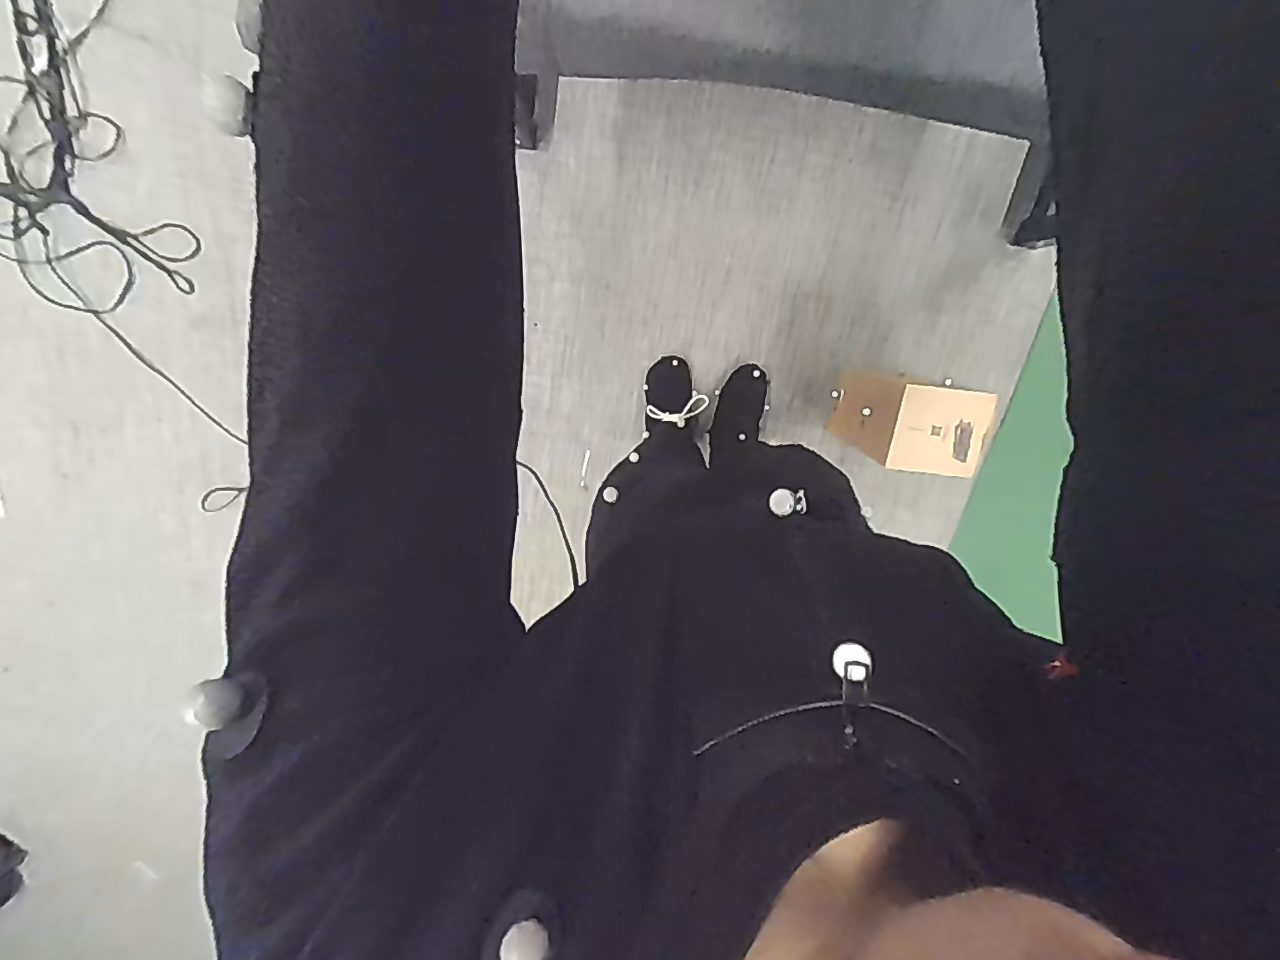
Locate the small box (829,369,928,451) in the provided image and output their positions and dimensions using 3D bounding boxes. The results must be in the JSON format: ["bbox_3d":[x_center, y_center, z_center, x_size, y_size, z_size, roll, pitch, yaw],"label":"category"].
[{"bbox_3d":[0.560,-0.158,1.240,0.179,0.176,0.168,6,107,-1],"label":"small box"}]

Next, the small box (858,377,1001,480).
[{"bbox_3d":[0.566,-0.110,1.083,0.179,0.176,0.168,6,107,-1],"label":"small box"}]
